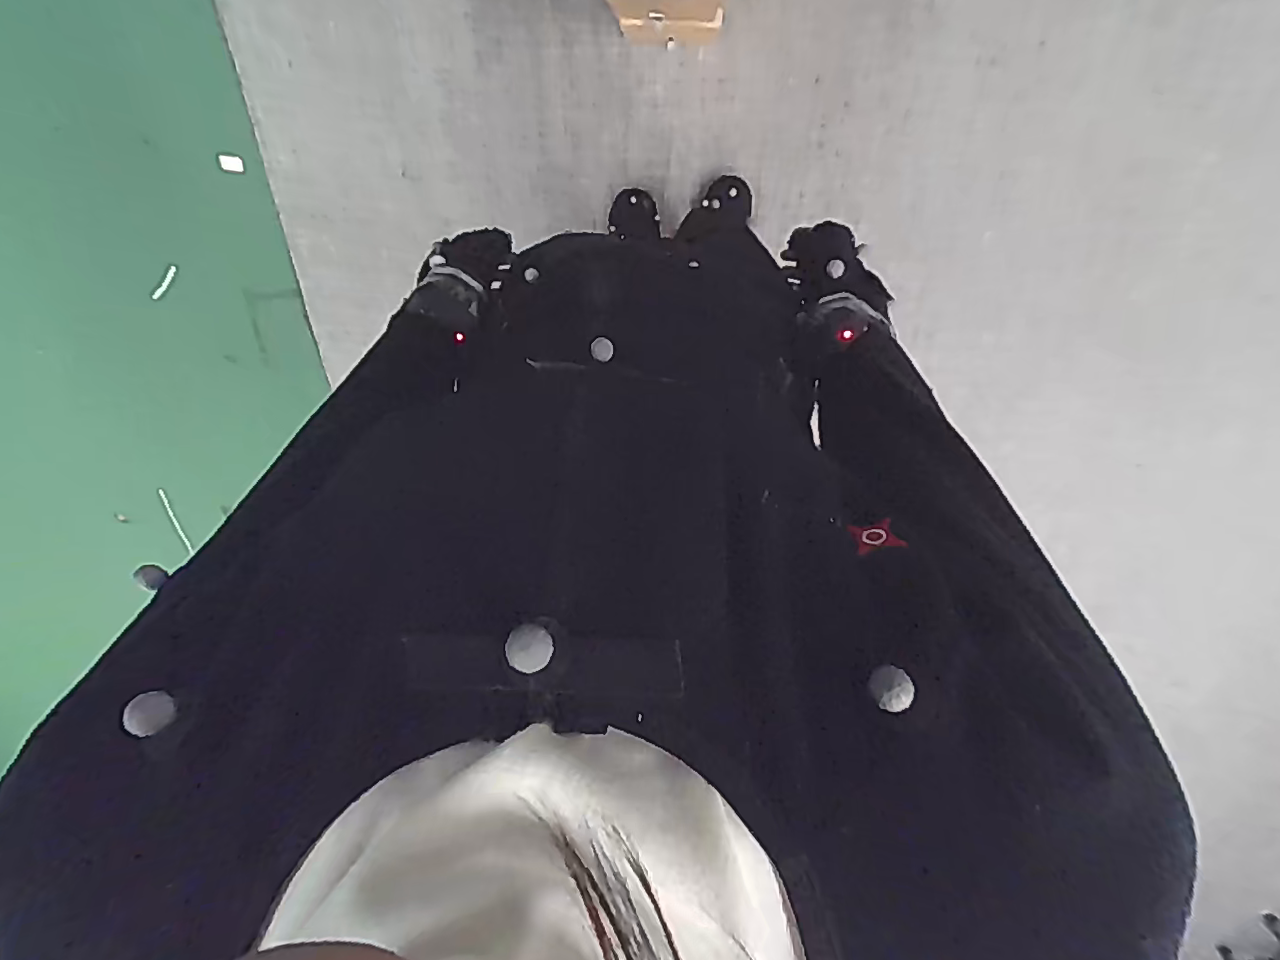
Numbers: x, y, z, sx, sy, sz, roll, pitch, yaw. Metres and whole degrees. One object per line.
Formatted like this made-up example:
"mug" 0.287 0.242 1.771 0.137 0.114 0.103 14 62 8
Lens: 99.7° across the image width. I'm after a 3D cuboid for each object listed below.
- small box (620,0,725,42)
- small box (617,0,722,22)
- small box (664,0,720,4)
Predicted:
"small box" 0.060 -0.881 0.939 0.179 0.176 0.168 3 122 1
"small box" 0.044 -0.805 0.796 0.168 0.176 0.179 4 123 3
"small box" 0.038 -0.710 0.661 0.179 0.176 0.168 5 122 1
